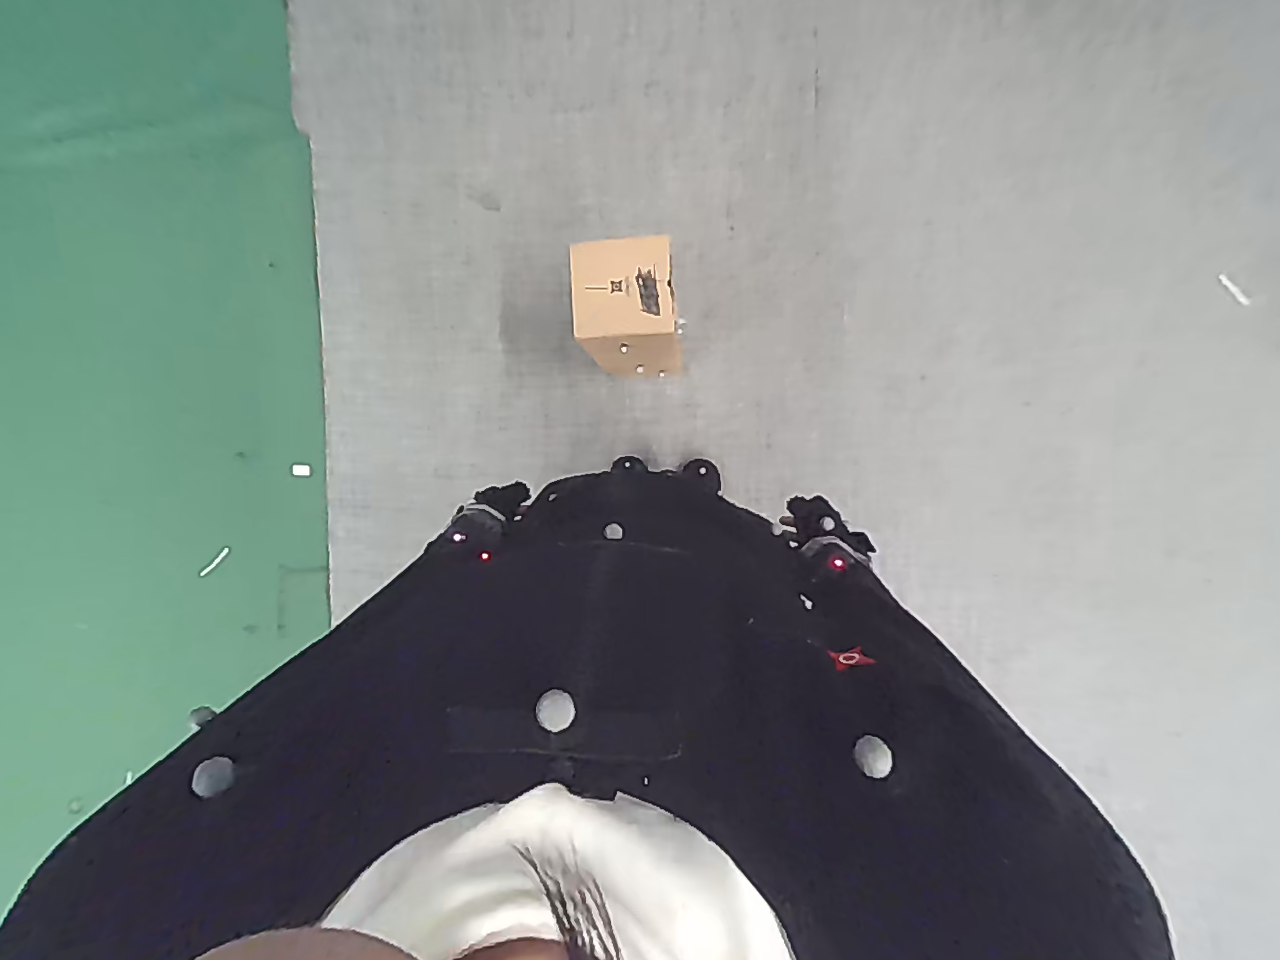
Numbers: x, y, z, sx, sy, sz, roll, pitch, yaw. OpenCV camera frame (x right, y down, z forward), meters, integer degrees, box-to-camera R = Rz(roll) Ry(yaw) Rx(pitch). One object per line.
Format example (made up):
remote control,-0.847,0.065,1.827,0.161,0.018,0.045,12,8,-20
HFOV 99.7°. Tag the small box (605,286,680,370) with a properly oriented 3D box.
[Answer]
small box,0.010,-0.369,1.332,0.179,0.176,0.168,-2,92,7

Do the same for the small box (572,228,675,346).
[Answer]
small box,-0.024,-0.351,1.003,0.179,0.176,0.168,1,91,5
